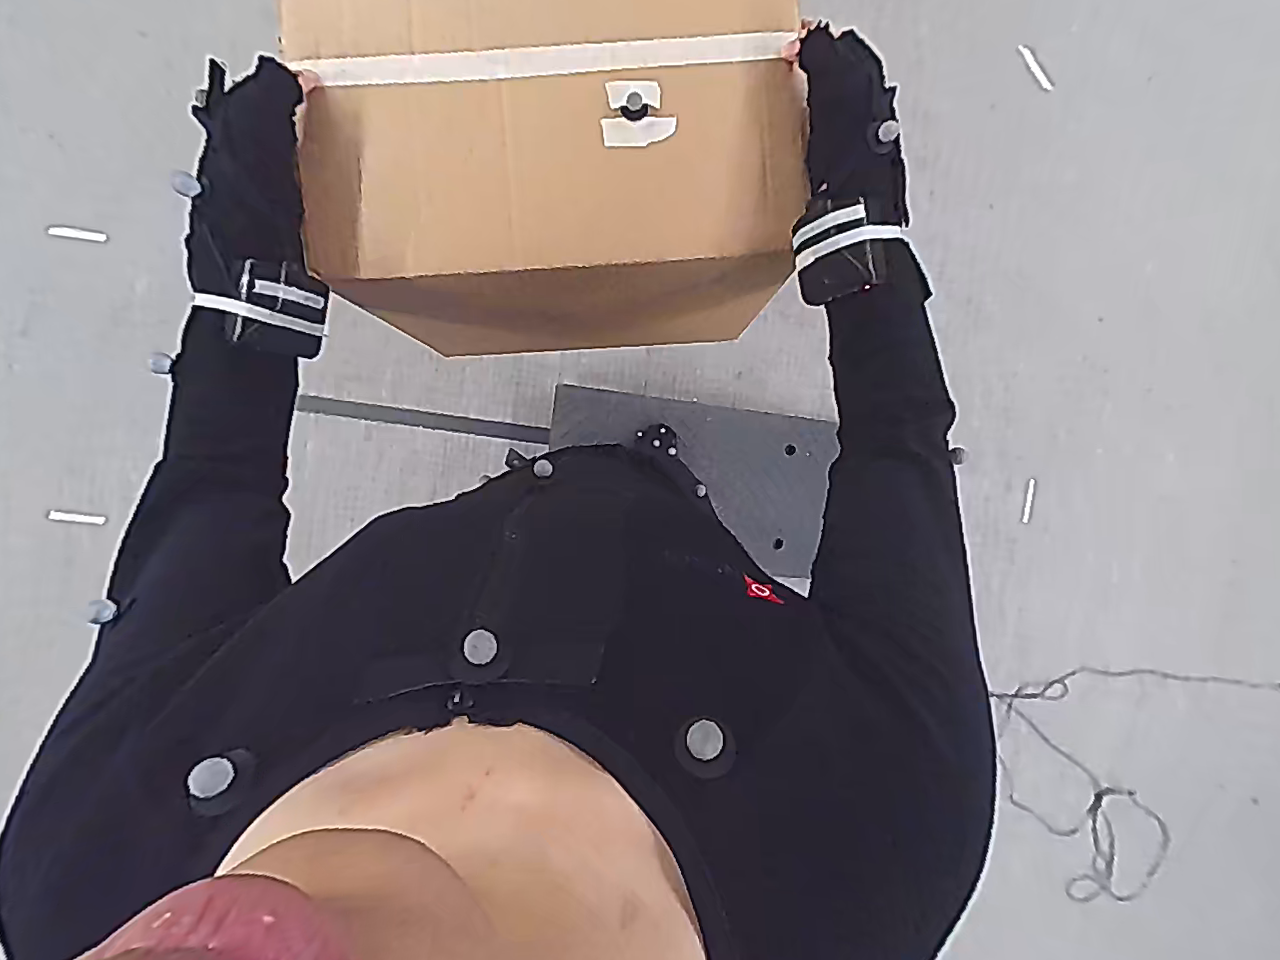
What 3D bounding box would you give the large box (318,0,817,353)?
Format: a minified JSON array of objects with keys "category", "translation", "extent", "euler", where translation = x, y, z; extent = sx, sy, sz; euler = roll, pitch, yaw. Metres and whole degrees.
[{"category":"large box","translation":[-0.064,-0.336,0.592],"extent":[0.408,0.320,0.320],"euler":[-3,92,-1]}]
